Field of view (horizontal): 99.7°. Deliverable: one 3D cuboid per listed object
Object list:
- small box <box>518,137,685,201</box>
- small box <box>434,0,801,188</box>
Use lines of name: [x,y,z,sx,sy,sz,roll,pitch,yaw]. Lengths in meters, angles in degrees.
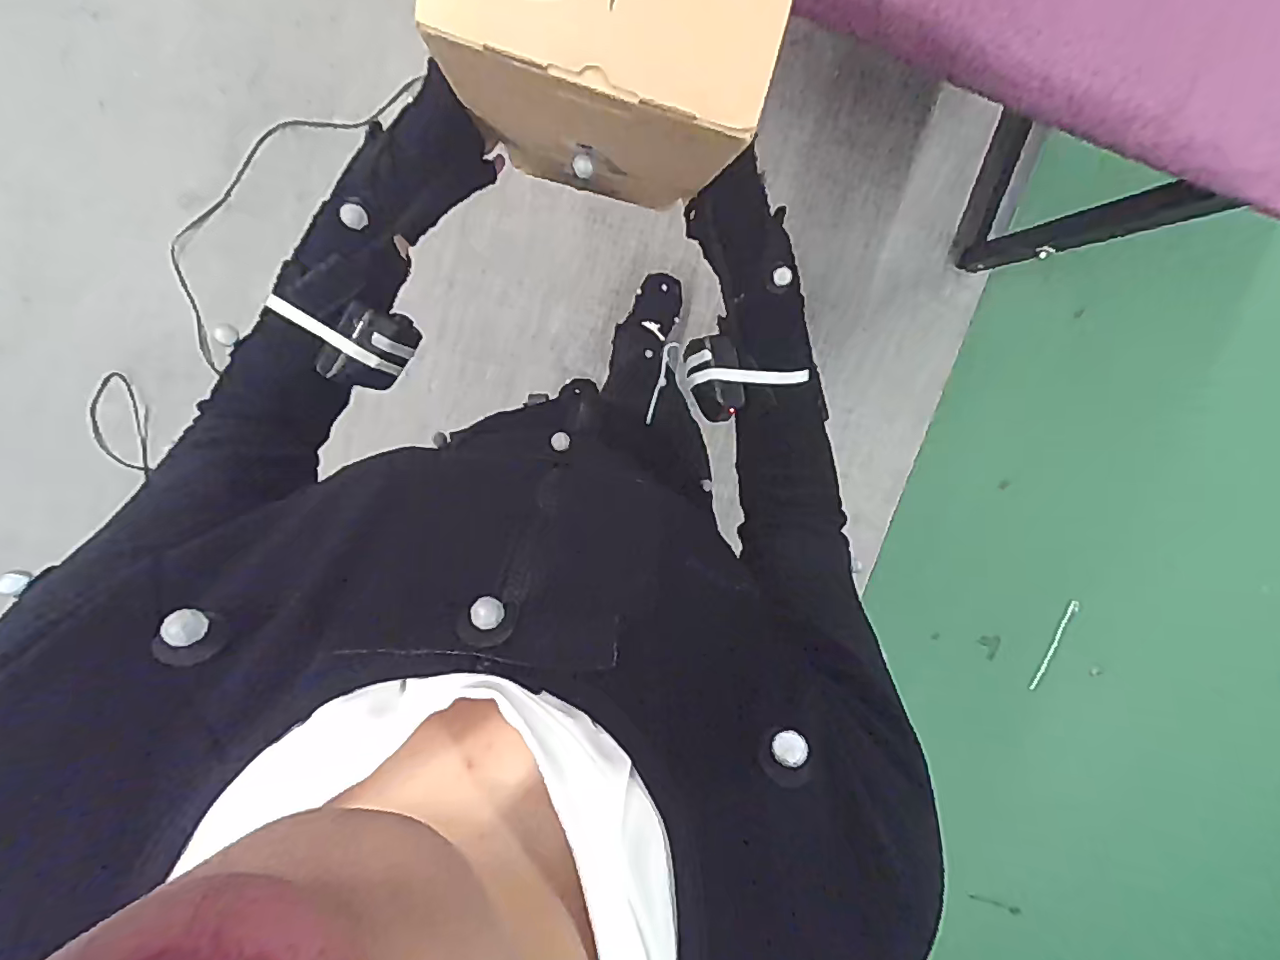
small box: [-0.016,-0.362,0.459,0.168,0.176,0.179,10,107,-10]
small box: [-0.004,-0.295,0.308,0.168,0.176,0.179,12,107,-10]
